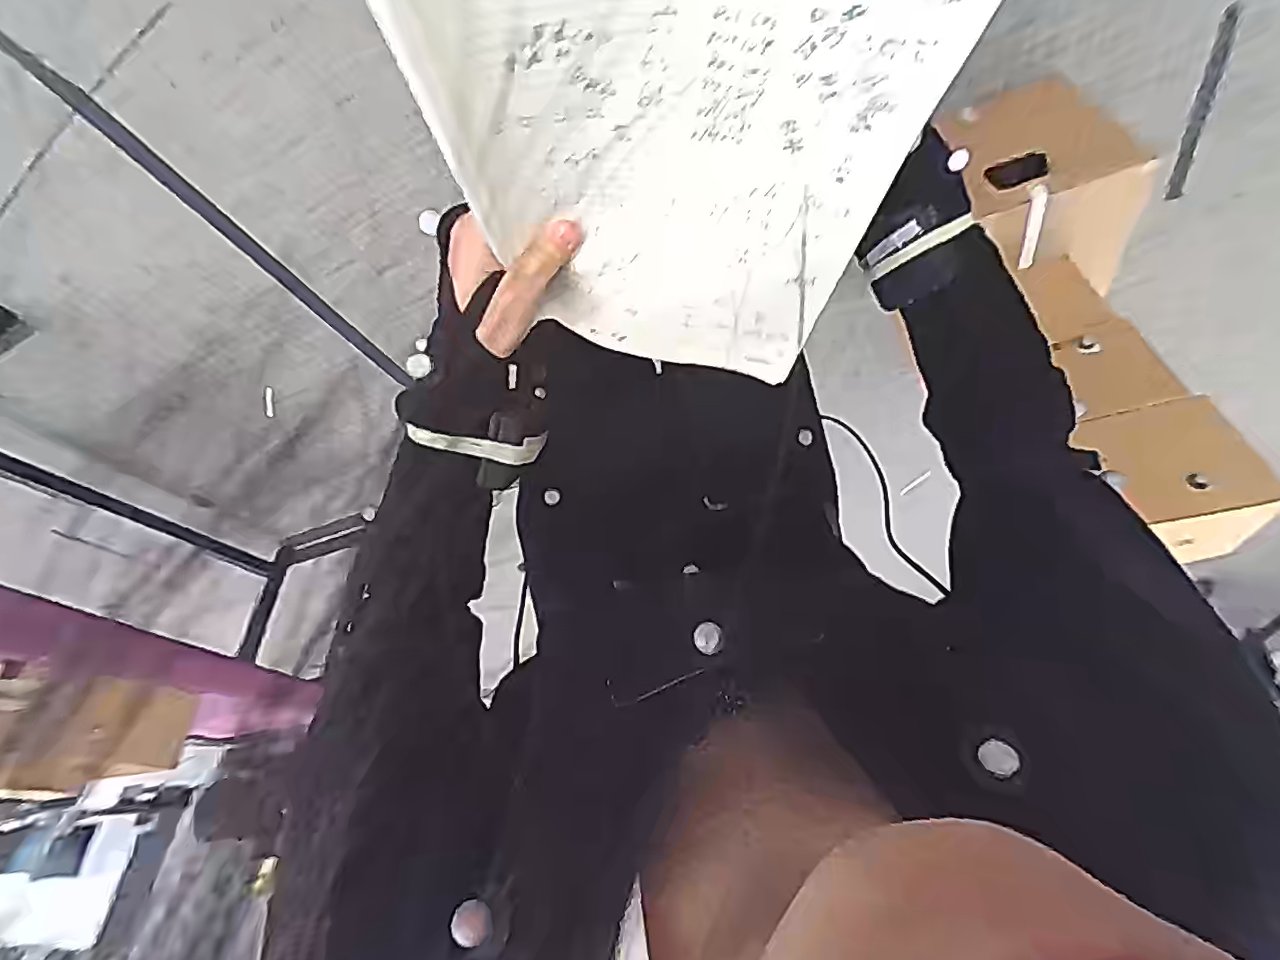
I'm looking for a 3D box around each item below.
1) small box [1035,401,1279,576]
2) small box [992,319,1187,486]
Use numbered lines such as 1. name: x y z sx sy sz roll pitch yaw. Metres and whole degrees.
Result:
1. small box: 0.704 0.013 0.758 0.179 0.176 0.168 -13 144 15
2. small box: 0.687 -0.118 0.856 0.168 0.176 0.179 -15 143 16
